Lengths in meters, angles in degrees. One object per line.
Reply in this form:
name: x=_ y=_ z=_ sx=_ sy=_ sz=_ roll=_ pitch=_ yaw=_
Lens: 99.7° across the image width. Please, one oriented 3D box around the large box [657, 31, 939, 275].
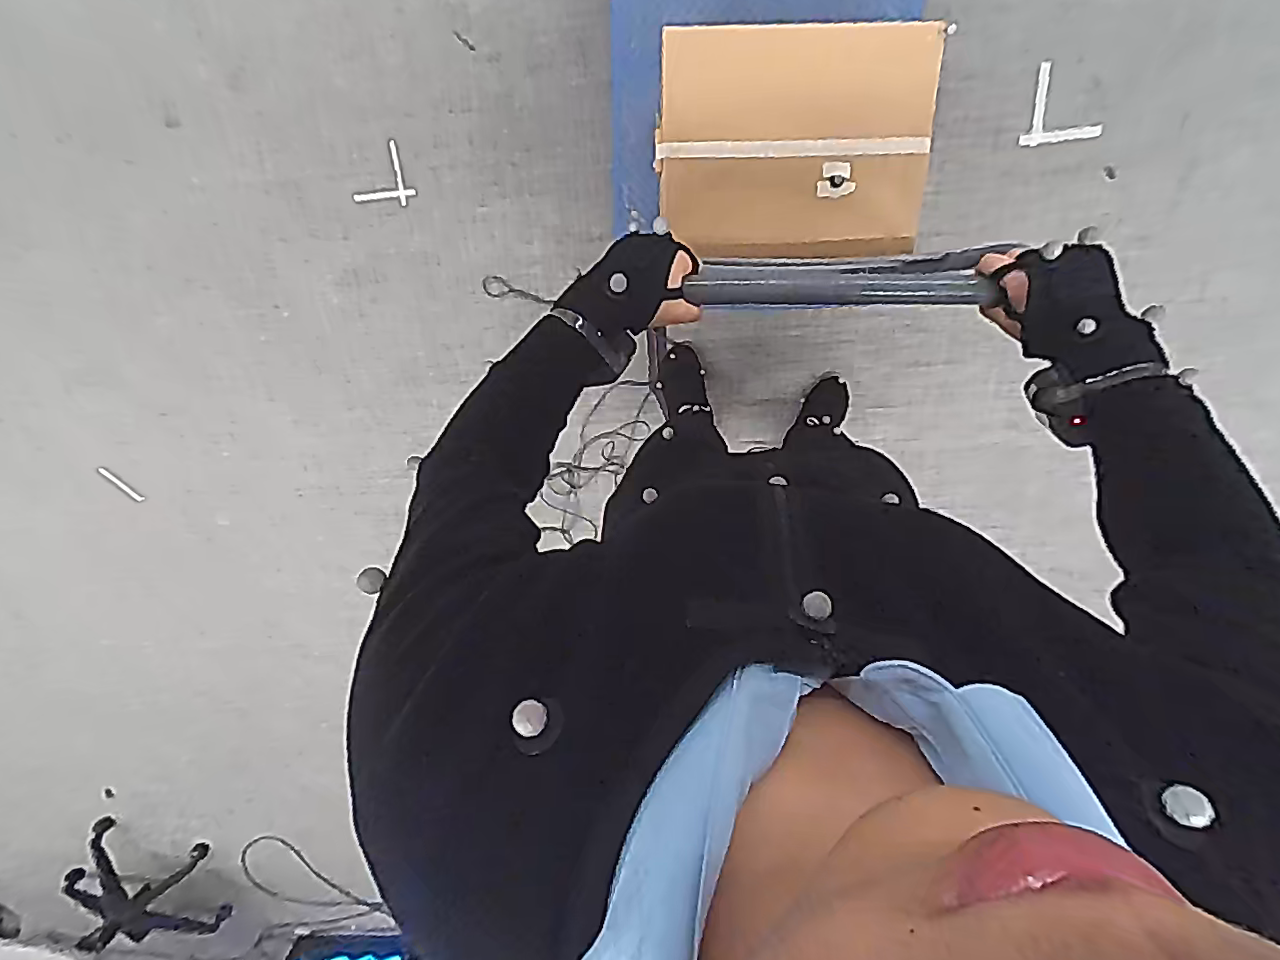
large box: x=0.235 y=-0.541 z=0.965 sx=0.408 sy=0.320 sz=0.320 roll=0 pitch=110 yaw=1
